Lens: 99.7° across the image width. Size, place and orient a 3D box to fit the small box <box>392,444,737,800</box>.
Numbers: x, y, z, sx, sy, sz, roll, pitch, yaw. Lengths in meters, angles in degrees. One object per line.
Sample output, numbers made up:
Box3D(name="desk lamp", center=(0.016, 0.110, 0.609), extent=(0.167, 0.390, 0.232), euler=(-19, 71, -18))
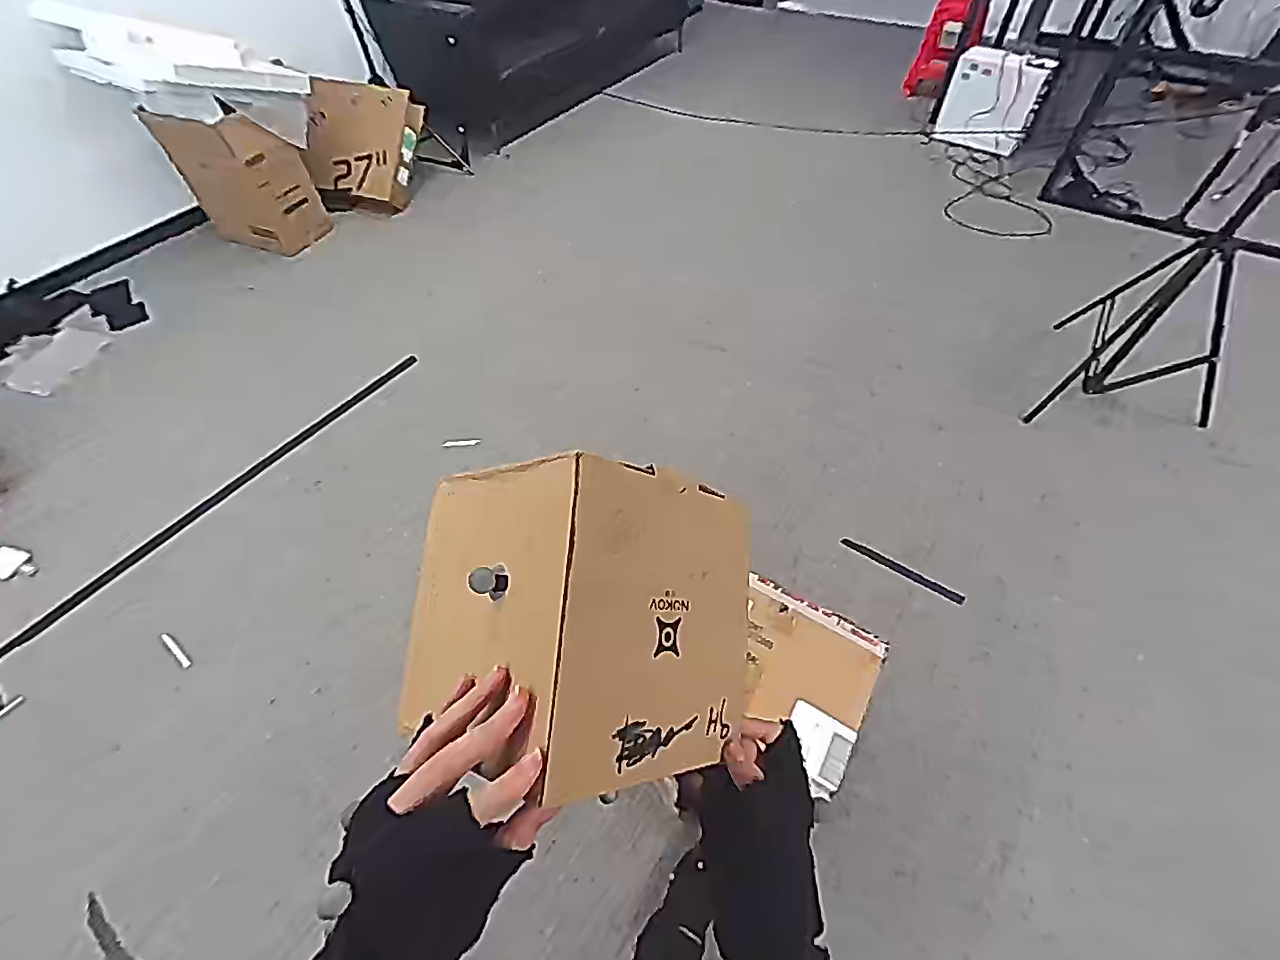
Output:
Box3D(name="small box", center=(-0.049, 0.089, 0.376), extent=(0.176, 0.168, 0.179), euler=(-7, 73, 43))
